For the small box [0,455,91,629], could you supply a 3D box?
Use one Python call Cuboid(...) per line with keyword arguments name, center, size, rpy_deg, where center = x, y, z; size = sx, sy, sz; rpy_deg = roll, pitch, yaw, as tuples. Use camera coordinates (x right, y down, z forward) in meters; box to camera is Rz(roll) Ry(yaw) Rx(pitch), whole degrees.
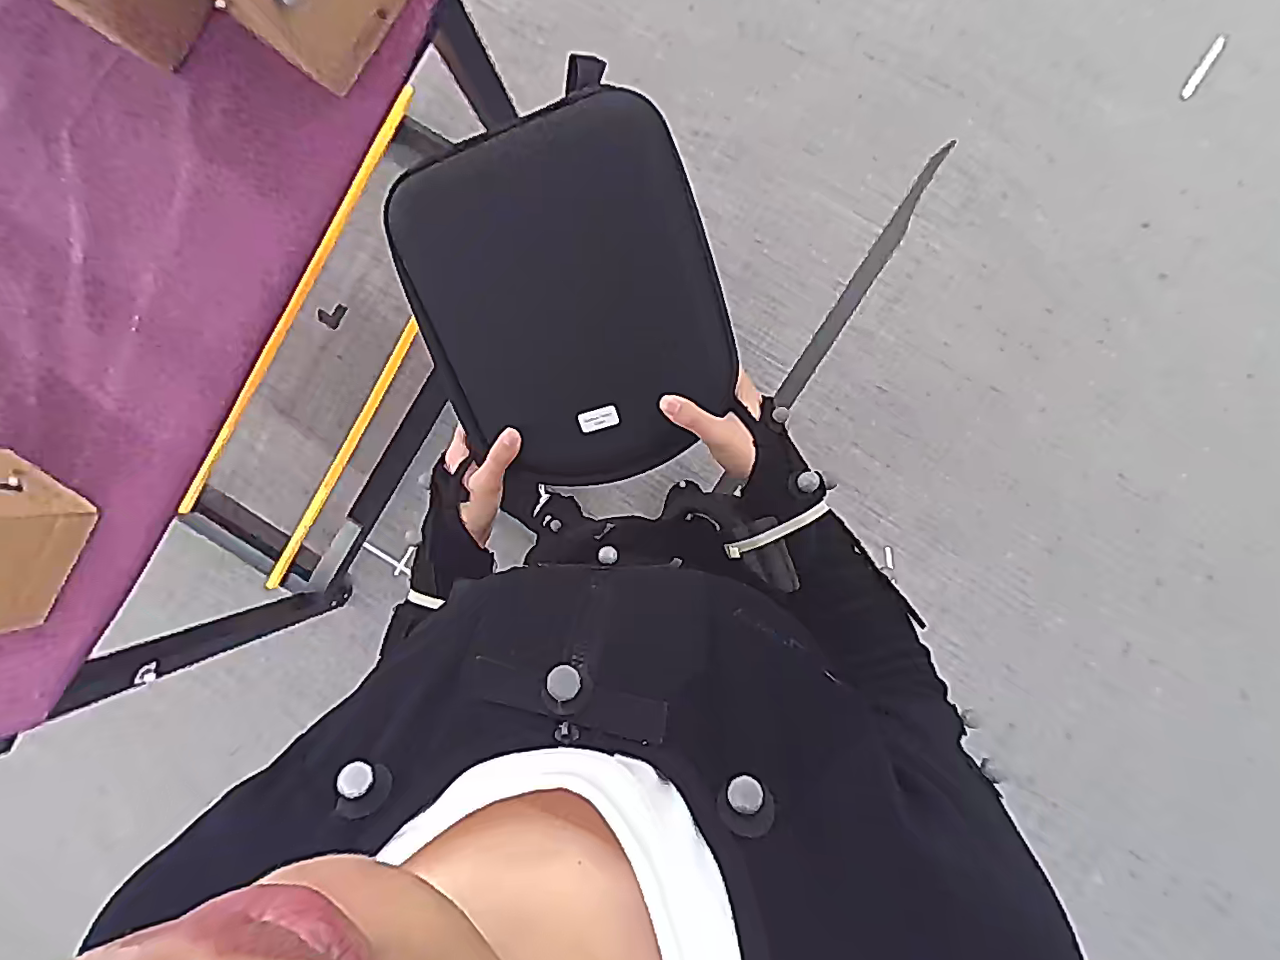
Cuboid(name="small box", center=(-0.821, 0.077, 0.634), size=(0.168, 0.176, 0.179), rpy_deg=(29, 92, 5))
